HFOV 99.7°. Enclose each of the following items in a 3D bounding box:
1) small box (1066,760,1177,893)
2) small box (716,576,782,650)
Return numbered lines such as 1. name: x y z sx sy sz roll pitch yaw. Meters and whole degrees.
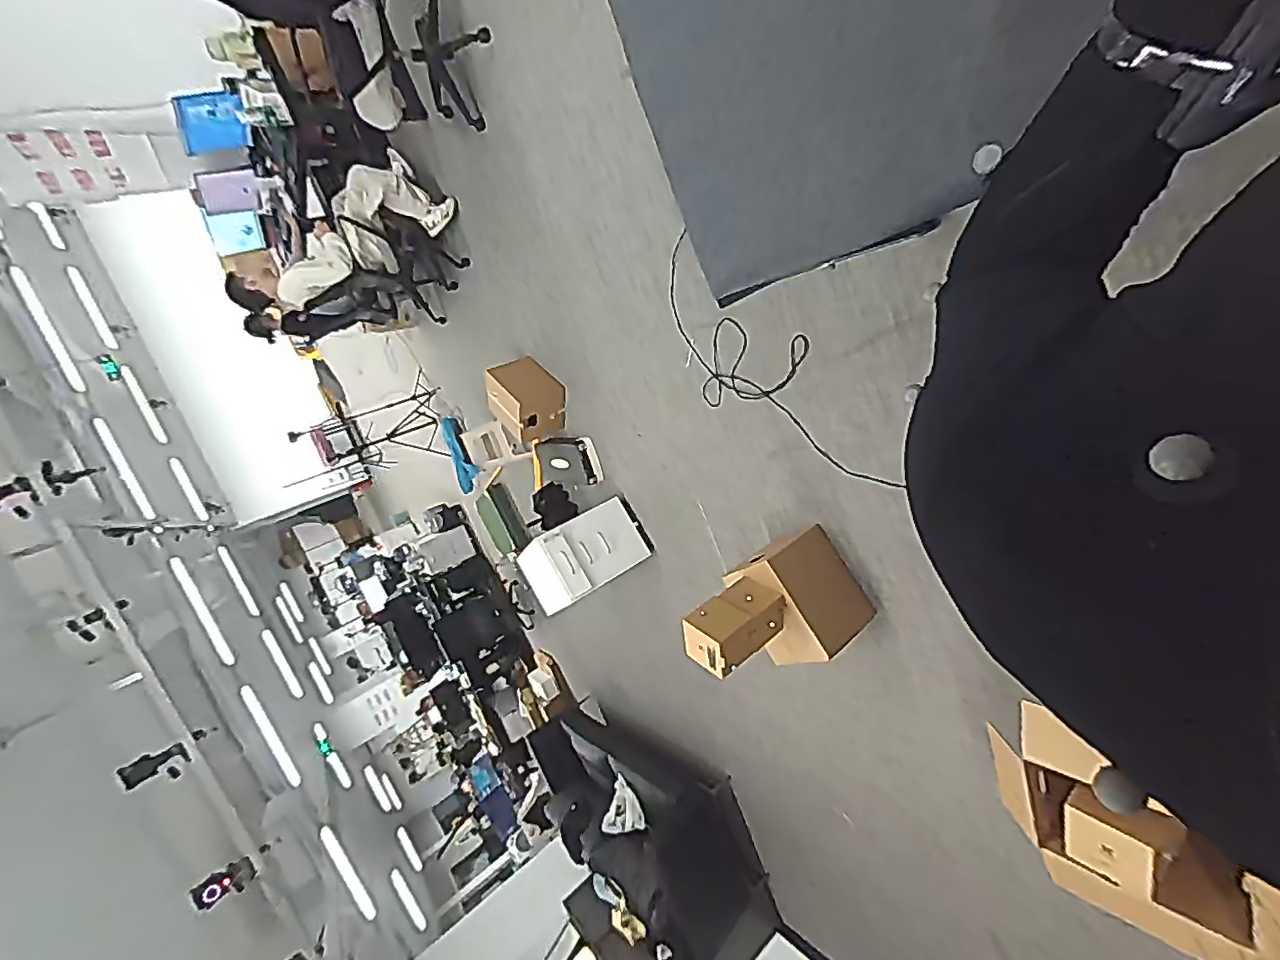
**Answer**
1. small box: 1.173 0.832 1.319 0.168 0.176 0.179 12 123 56
2. small box: 0.402 0.474 1.963 0.179 0.176 0.168 22 130 45
